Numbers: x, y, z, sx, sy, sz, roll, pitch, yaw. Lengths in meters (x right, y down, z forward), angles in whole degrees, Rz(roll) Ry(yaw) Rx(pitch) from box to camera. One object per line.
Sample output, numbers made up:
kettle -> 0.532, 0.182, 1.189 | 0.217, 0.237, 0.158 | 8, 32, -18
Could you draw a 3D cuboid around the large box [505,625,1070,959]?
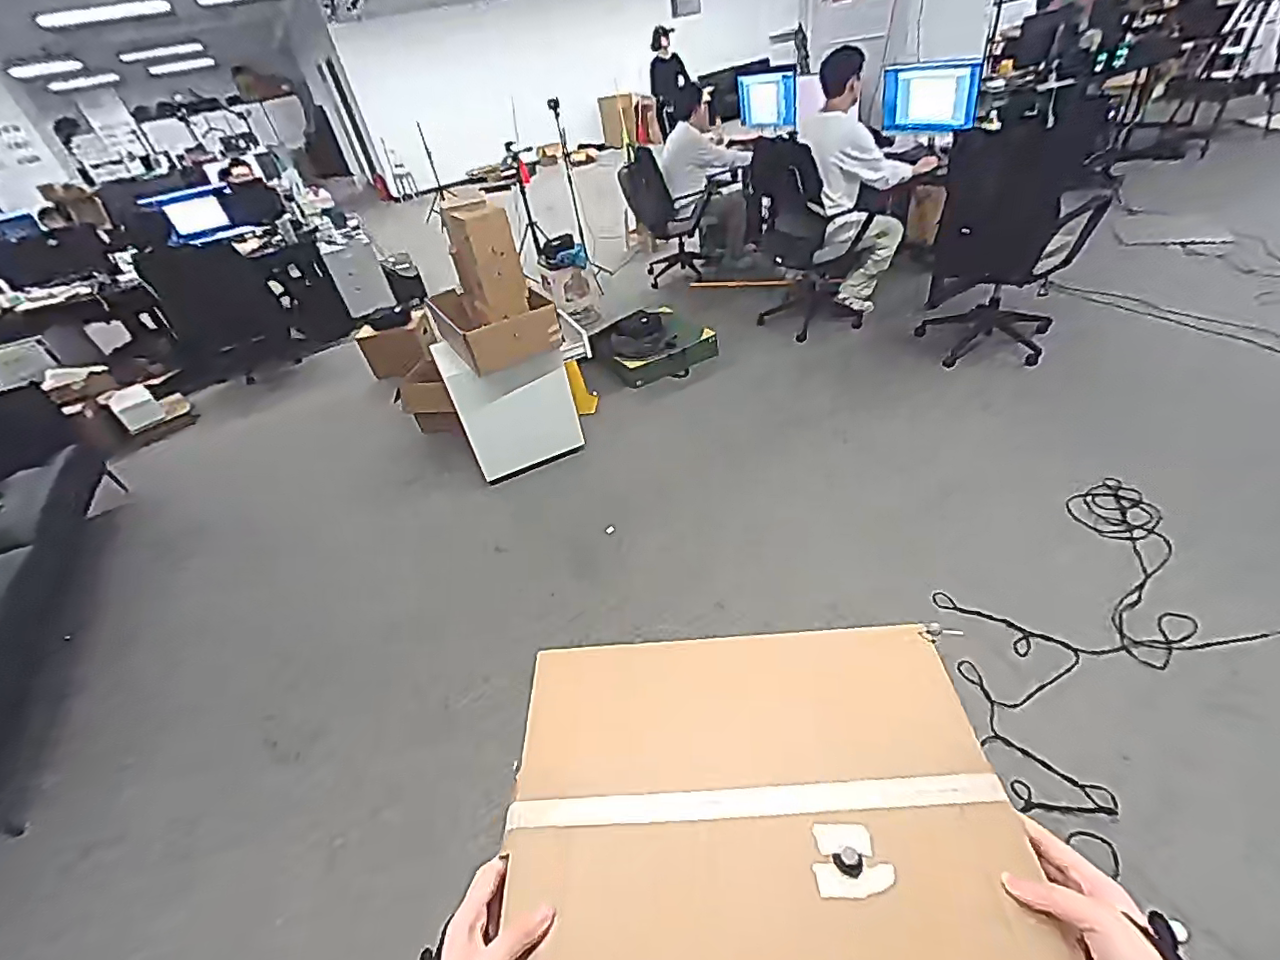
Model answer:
large box -> 0.106, 0.381, 0.562 | 0.408, 0.320, 0.320 | -4, 42, 3
